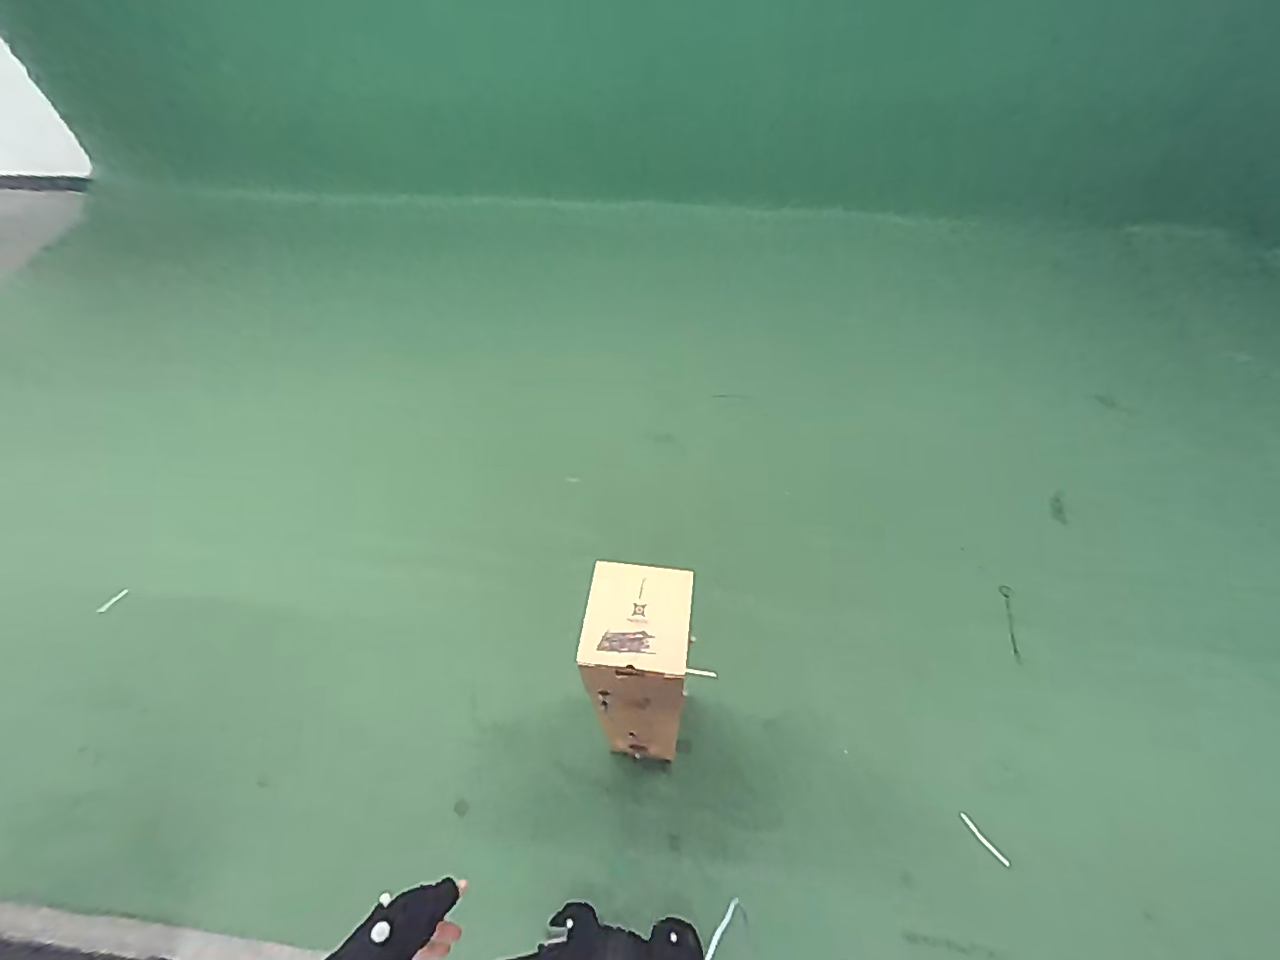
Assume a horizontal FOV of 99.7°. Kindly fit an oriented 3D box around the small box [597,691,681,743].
[{"bbox_3d":[0.006,0.456,1.180,0.168,0.176,0.179,5,54,5],"label":"small box"}]

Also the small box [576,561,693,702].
[{"bbox_3d":[-0.002,0.260,0.916,0.168,0.176,0.179,6,53,5],"label":"small box"}]

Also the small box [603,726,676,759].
[{"bbox_3d":[0.011,0.554,1.310,0.168,0.176,0.179,6,54,6],"label":"small box"}]
